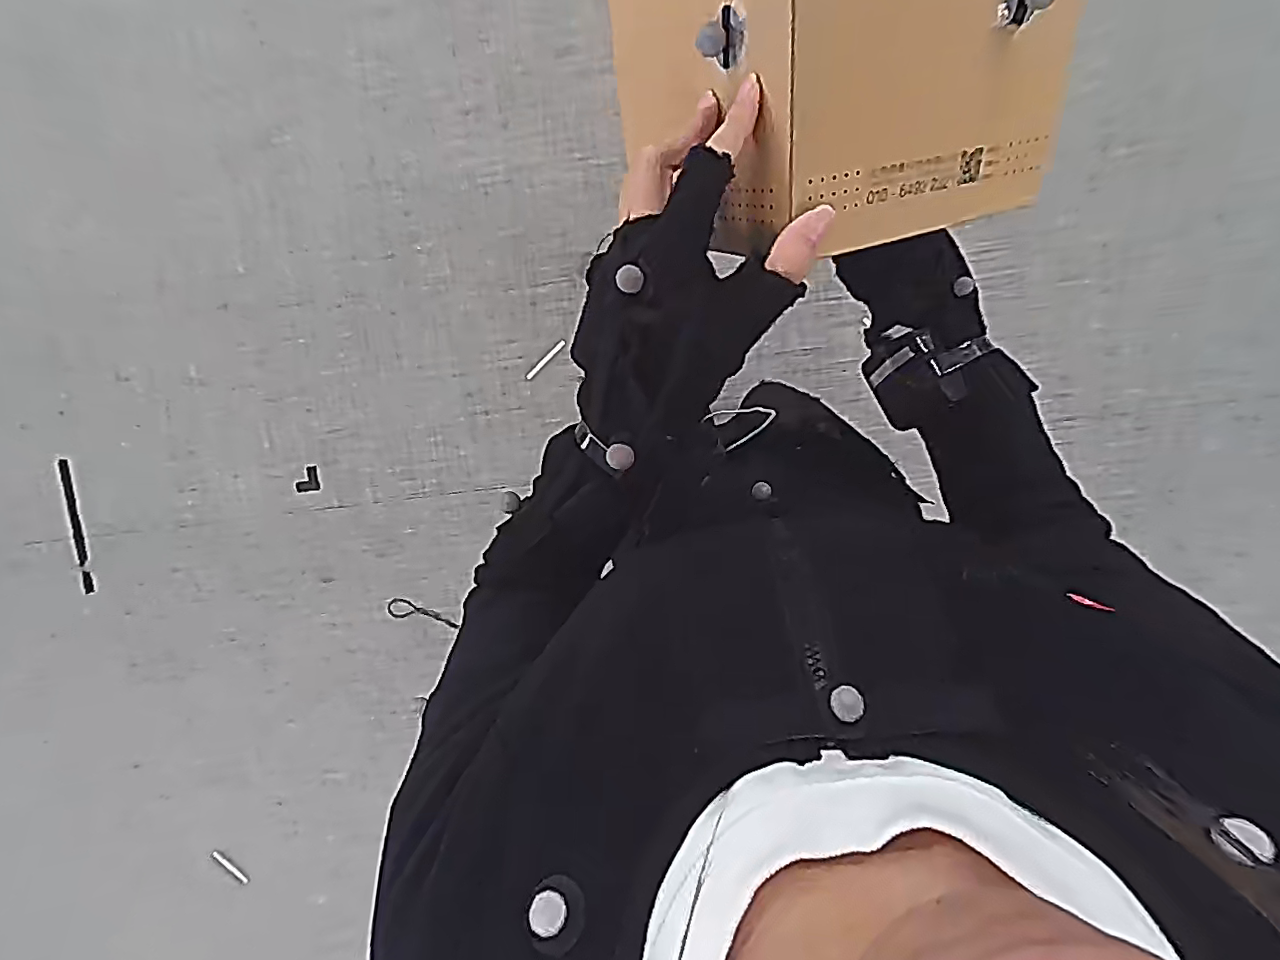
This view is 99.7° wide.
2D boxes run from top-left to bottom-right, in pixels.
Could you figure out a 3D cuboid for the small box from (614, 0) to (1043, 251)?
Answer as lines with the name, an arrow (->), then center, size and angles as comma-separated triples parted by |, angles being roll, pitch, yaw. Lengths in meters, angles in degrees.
small box -> 0.097, -0.236, 0.310 | 0.168, 0.179, 0.176 | -18, 122, -16
